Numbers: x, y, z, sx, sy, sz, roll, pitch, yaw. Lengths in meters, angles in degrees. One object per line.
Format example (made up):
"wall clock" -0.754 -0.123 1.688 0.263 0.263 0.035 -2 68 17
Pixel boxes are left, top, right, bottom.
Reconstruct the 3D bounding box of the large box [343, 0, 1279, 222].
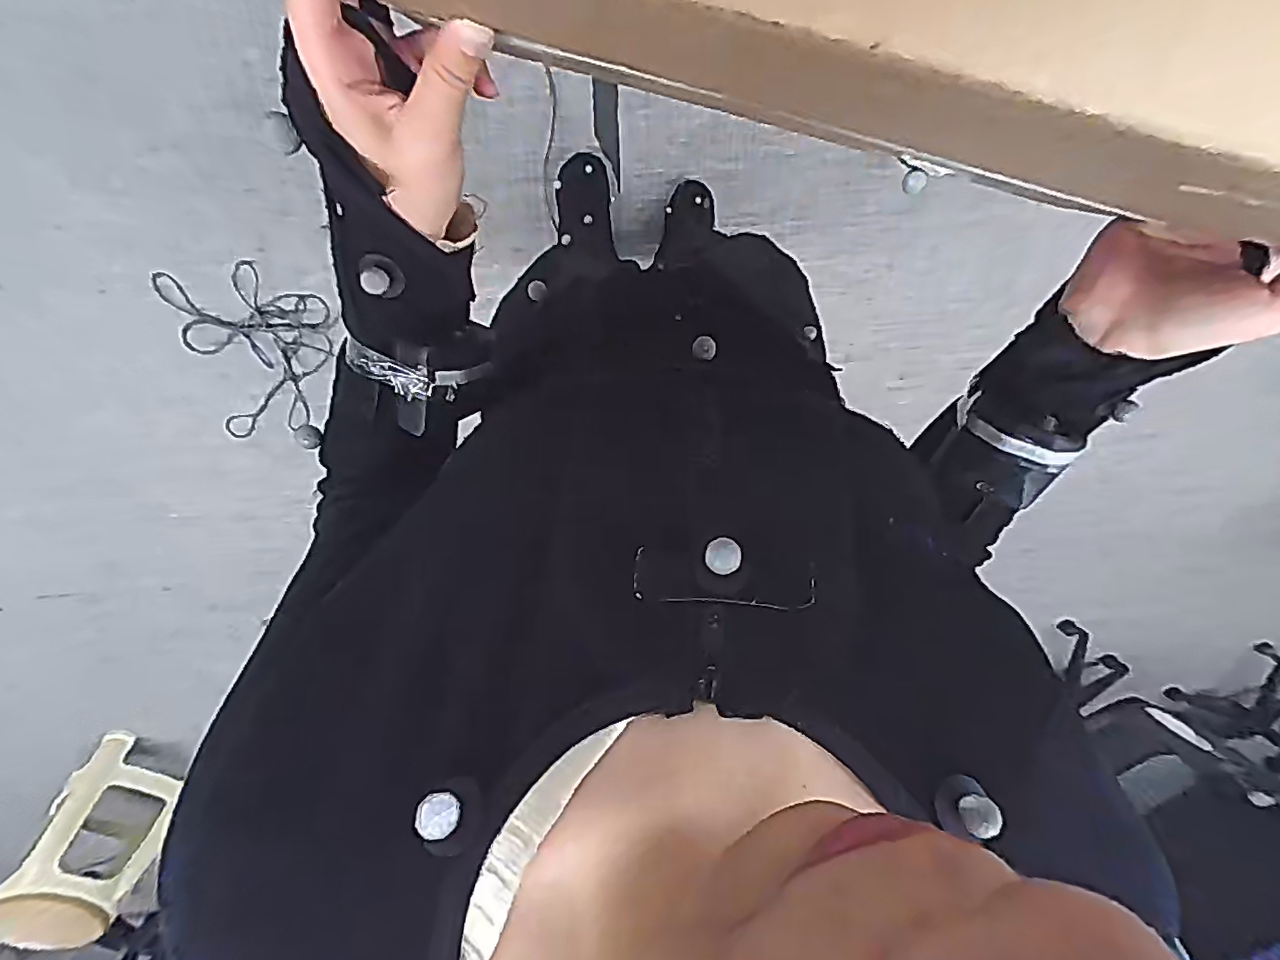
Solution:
"large box" 0.104 -0.286 0.149 0.408 0.320 0.320 9 124 -6
